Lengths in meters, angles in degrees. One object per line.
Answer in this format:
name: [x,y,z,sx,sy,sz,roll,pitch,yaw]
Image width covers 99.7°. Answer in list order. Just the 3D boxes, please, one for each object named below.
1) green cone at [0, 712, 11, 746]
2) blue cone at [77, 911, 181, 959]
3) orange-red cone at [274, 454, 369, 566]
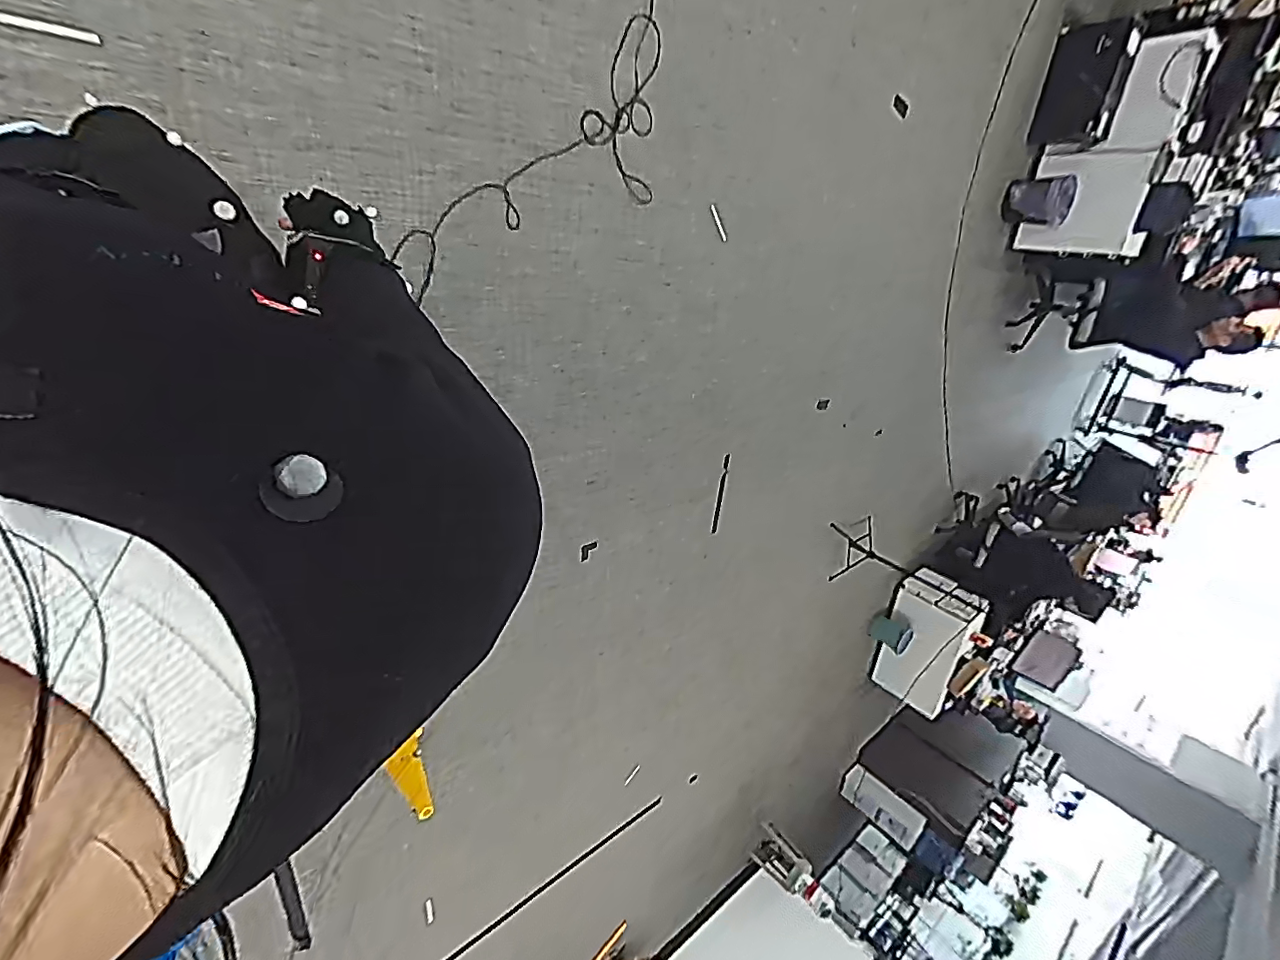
green cone: [-1.295,0.547,0.933,0.202,0.368,0.200,-13,120,-36]
blue cone: [-1.299,1.352,1.377,0.192,0.380,0.193,-9,117,-38]
orange-red cone: [-0.695,0.096,1.250,0.199,0.360,0.198,-10,119,-41]
